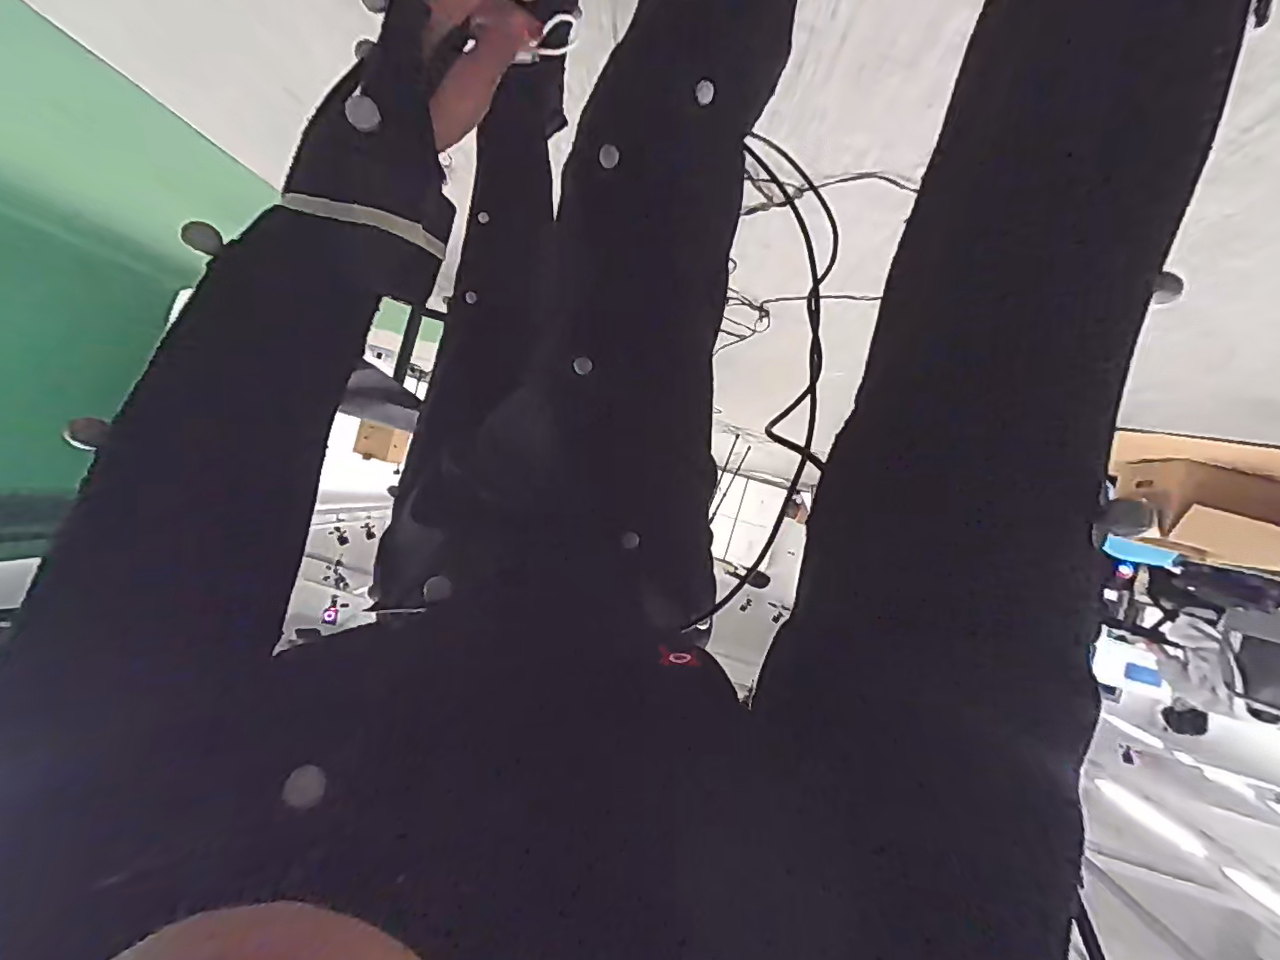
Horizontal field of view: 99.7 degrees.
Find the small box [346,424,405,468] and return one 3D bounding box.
[{"bbox_3d":[-1.214,-0.157,2.488,0.168,0.176,0.179,17,-179,1],"label":"small box"}]
